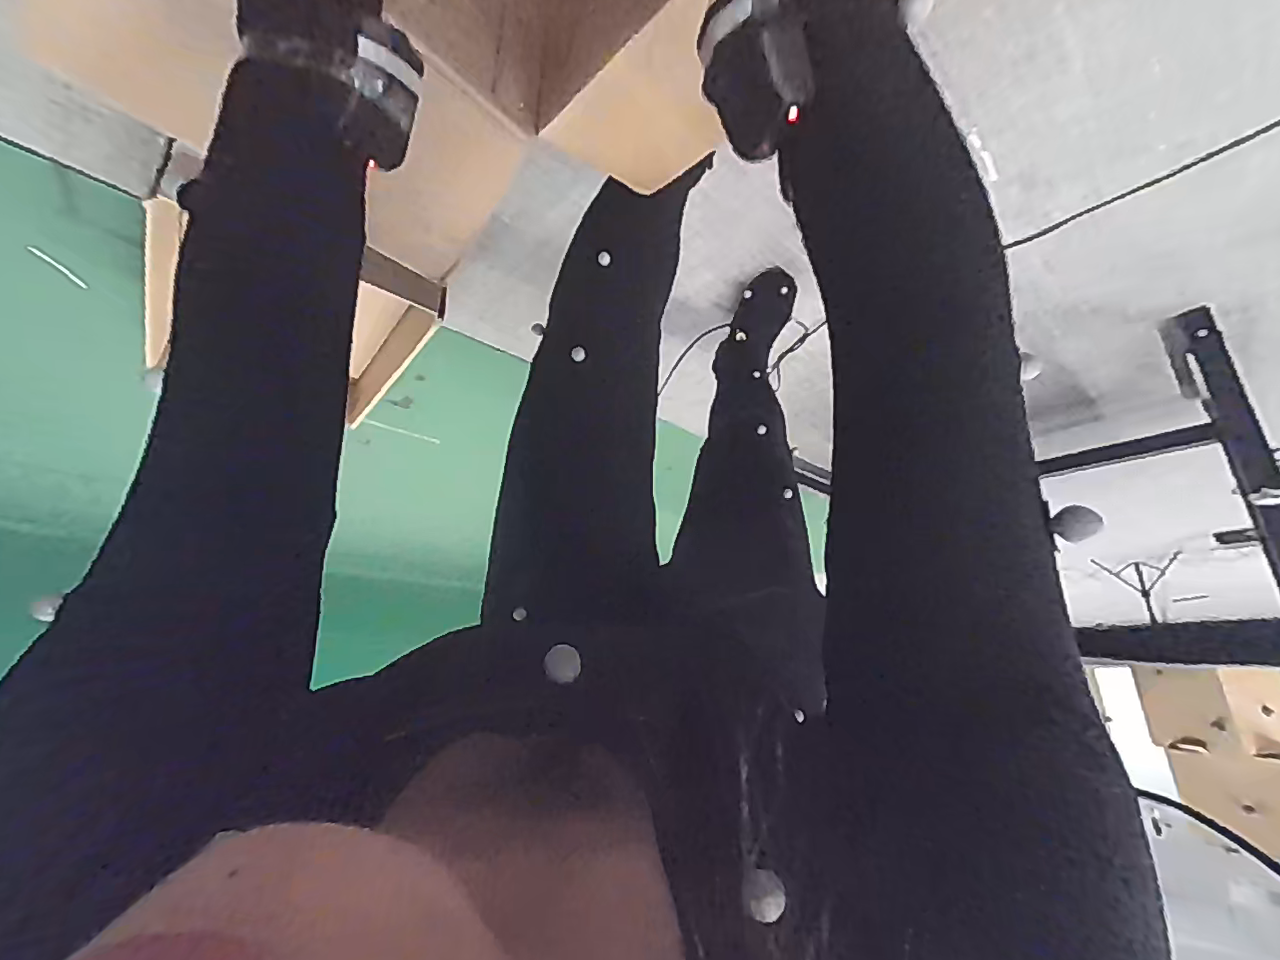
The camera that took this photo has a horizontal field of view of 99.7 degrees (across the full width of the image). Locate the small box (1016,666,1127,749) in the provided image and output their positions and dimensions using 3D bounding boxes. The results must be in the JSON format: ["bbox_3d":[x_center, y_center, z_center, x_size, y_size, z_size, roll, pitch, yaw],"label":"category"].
[{"bbox_3d":[1.034,0.539,1.299,0.168,0.176,0.179,-20,152,41],"label":"small box"}]

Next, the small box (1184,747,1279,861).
[{"bbox_3d":[1.207,0.612,1.029,0.168,0.176,0.179,11,156,-26],"label":"small box"}]
